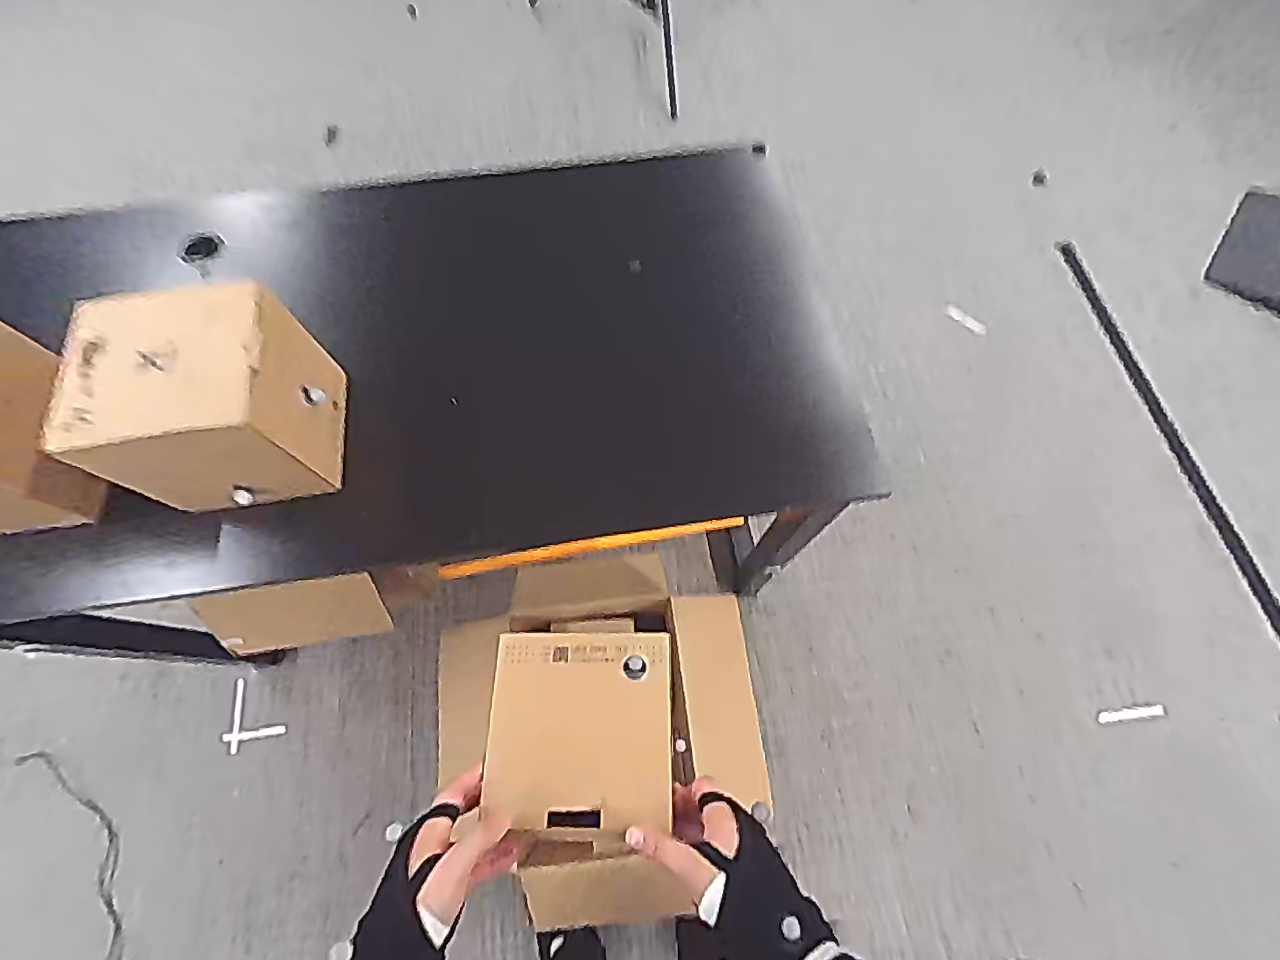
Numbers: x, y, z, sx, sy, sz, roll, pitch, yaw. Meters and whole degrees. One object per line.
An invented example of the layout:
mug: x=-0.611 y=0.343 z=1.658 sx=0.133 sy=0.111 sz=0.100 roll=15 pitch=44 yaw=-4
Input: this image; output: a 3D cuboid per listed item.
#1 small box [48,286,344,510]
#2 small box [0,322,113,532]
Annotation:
small box: x=-0.445 y=-0.078 z=0.580 sx=0.179 sy=0.176 sz=0.168 roll=-9 pitch=68 yaw=-4
small box: x=-0.705 y=-0.045 z=0.566 sx=0.179 sy=0.176 sz=0.168 roll=-6 pitch=68 yaw=-3
